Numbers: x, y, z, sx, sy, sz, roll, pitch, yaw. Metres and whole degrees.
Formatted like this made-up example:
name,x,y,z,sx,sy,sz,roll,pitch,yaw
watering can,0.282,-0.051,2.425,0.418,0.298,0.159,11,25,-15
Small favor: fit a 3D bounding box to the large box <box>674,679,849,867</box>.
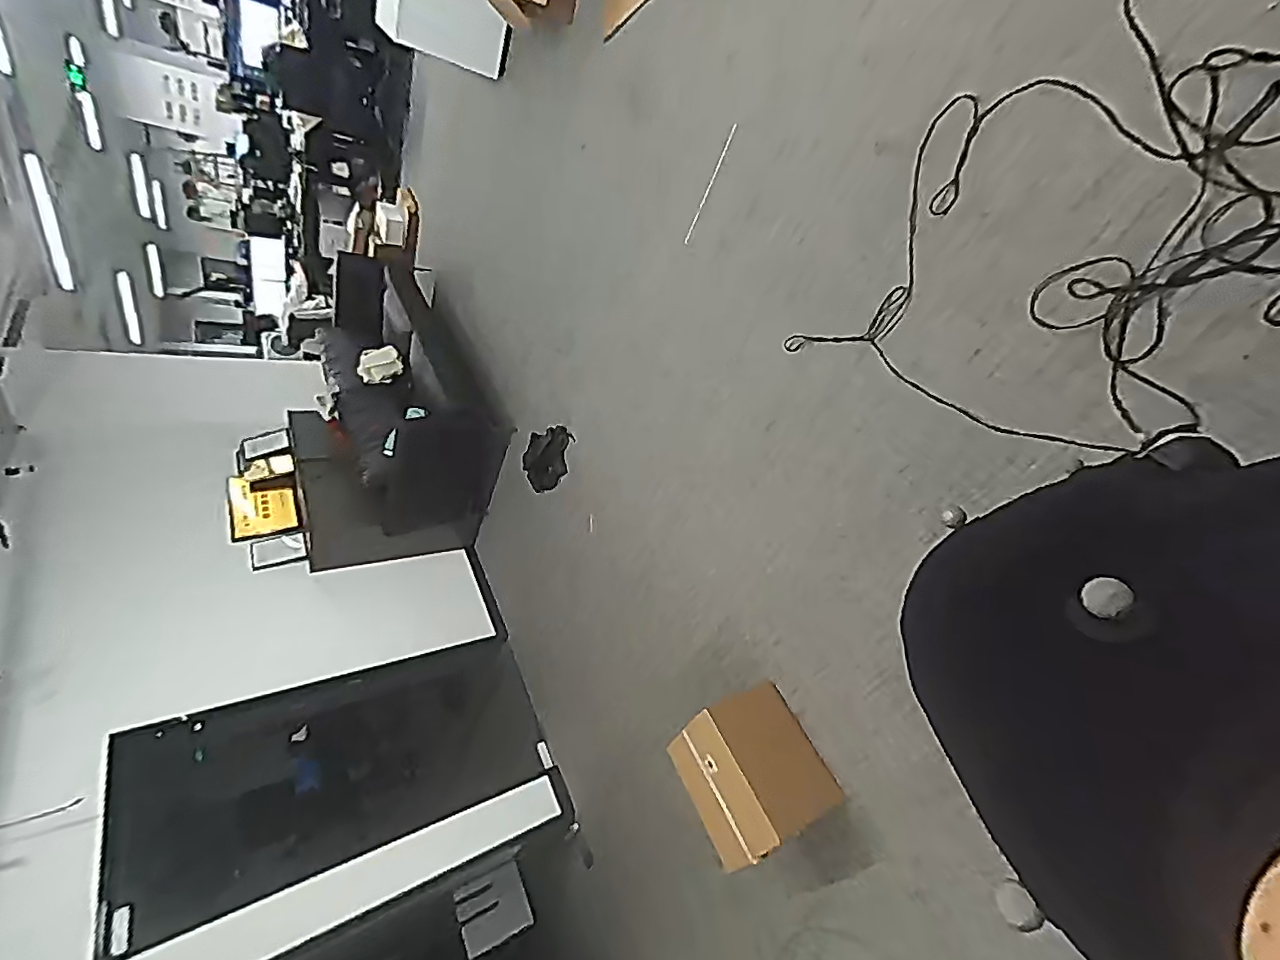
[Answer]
name,x,y,z,sx,sy,sz,roll,pitch,yaw
large box,0.381,0.936,1.762,0.408,0.320,0.320,58,136,34
